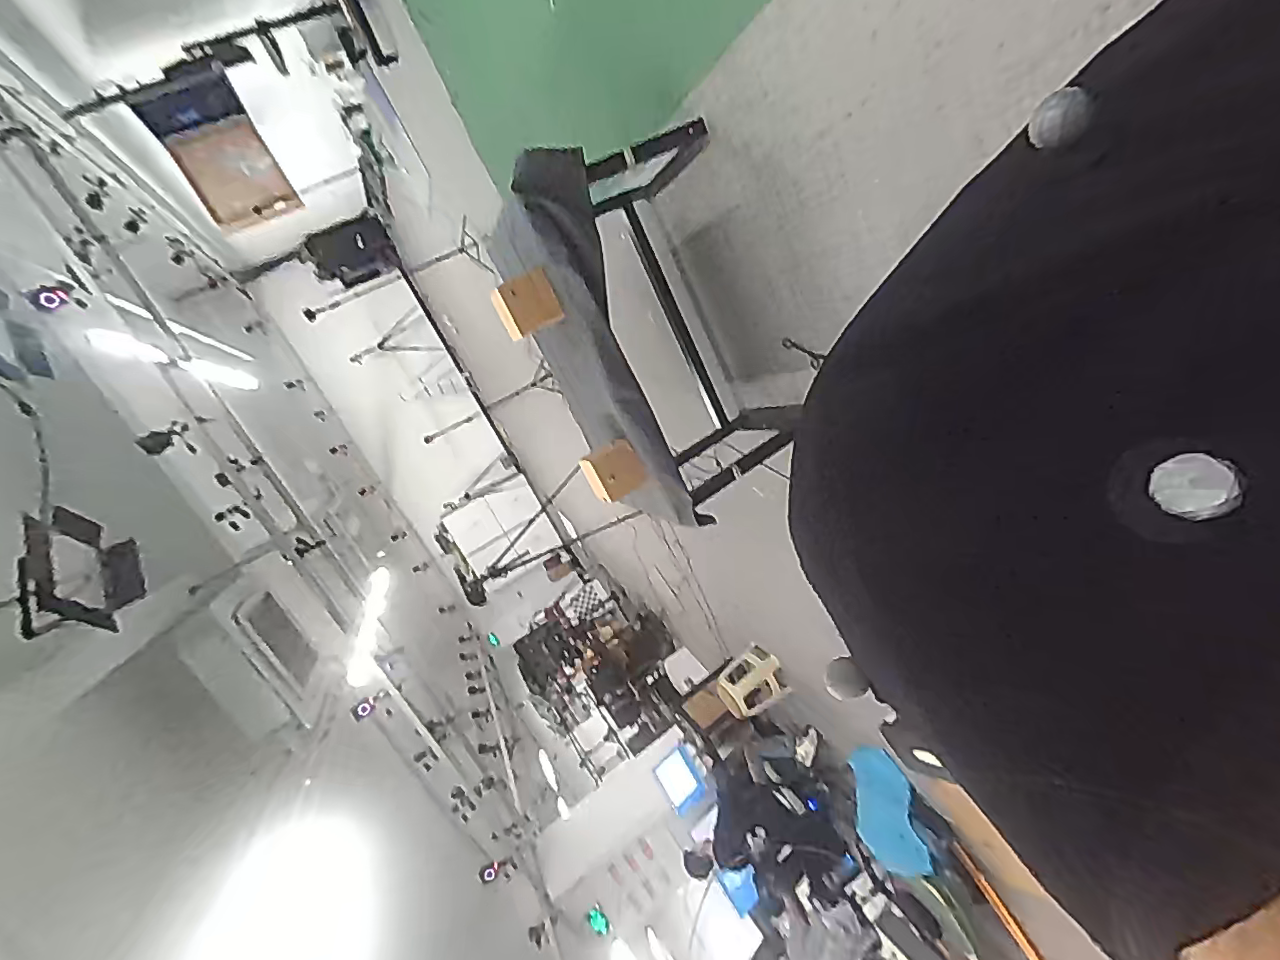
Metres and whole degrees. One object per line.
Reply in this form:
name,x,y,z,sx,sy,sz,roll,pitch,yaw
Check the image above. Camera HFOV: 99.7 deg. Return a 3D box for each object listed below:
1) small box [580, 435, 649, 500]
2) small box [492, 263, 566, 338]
small box,-0.091,-0.049,1.997,0.179,0.176,0.168,63,162,-14
small box,-0.370,-0.598,1.813,0.179,0.176,0.168,64,163,-18
